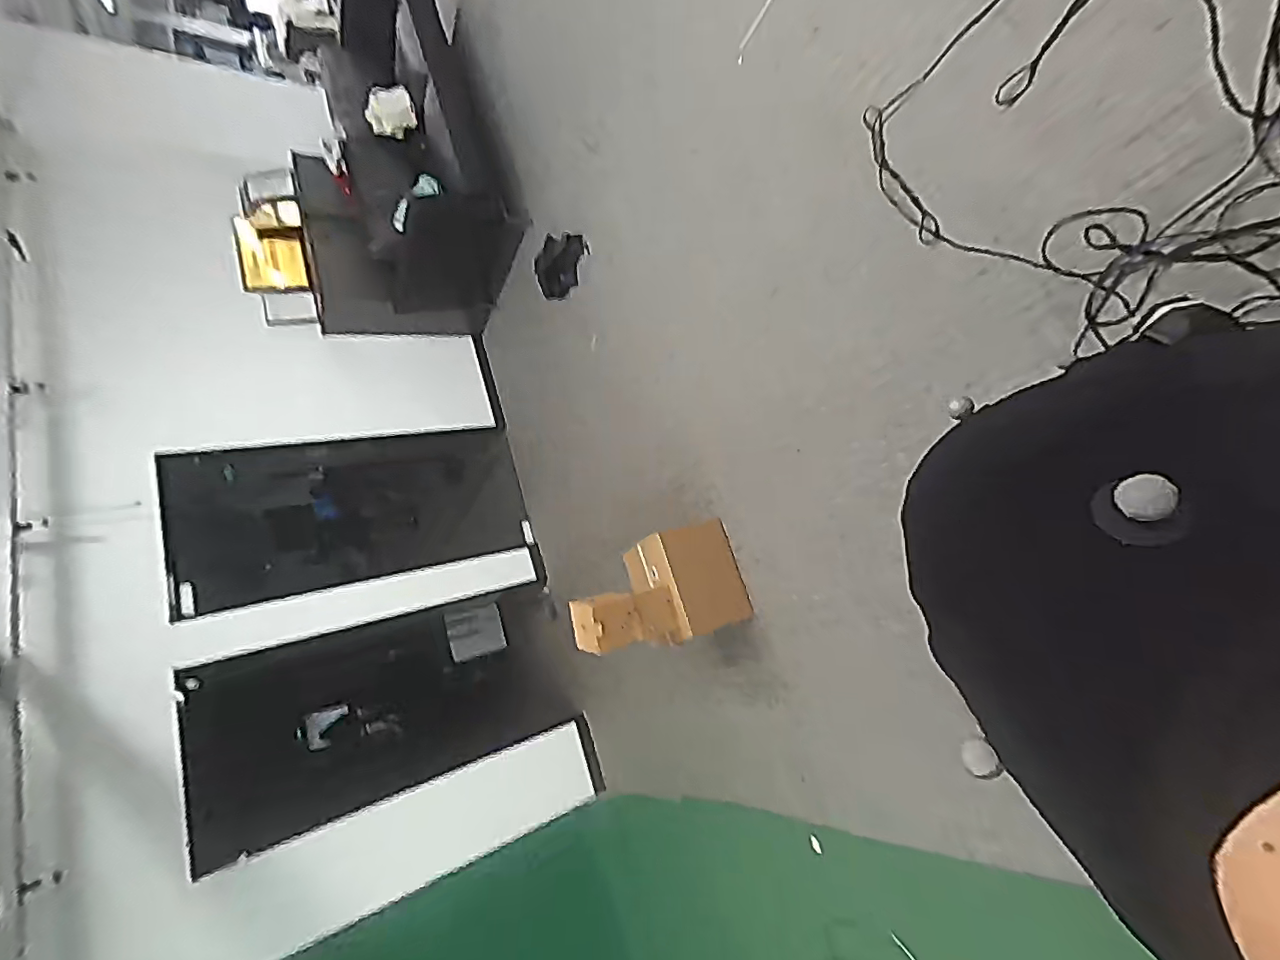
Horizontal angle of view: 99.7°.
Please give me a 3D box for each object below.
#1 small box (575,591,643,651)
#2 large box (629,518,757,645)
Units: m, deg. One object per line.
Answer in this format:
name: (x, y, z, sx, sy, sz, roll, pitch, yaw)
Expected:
small box: (-0.112, 0.495, 1.924, 0.179, 0.176, 0.168, -15, 84, 57)
large box: (0.204, 0.404, 2.169, 0.320, 0.320, 0.408, -39, 64, 53)
